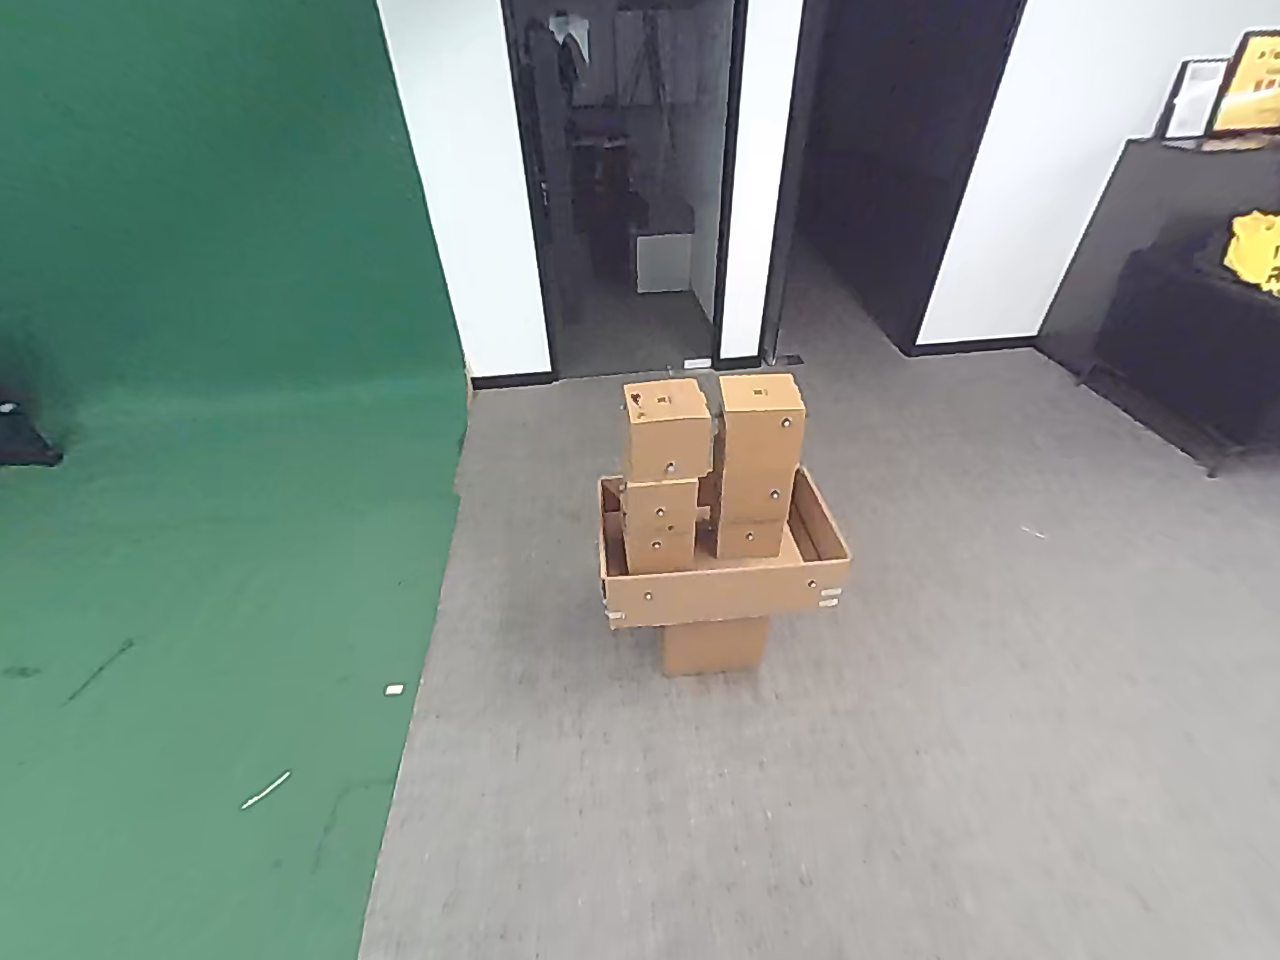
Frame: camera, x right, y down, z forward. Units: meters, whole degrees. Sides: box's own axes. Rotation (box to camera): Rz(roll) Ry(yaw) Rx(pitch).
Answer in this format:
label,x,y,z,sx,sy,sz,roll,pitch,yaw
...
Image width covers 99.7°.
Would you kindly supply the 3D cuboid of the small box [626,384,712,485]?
label,x,y,z,sx,sy,sz,roll,pitch,yaw
small box,0.060,-0.105,1.252,0.179,0.176,0.168,-5,40,-5
